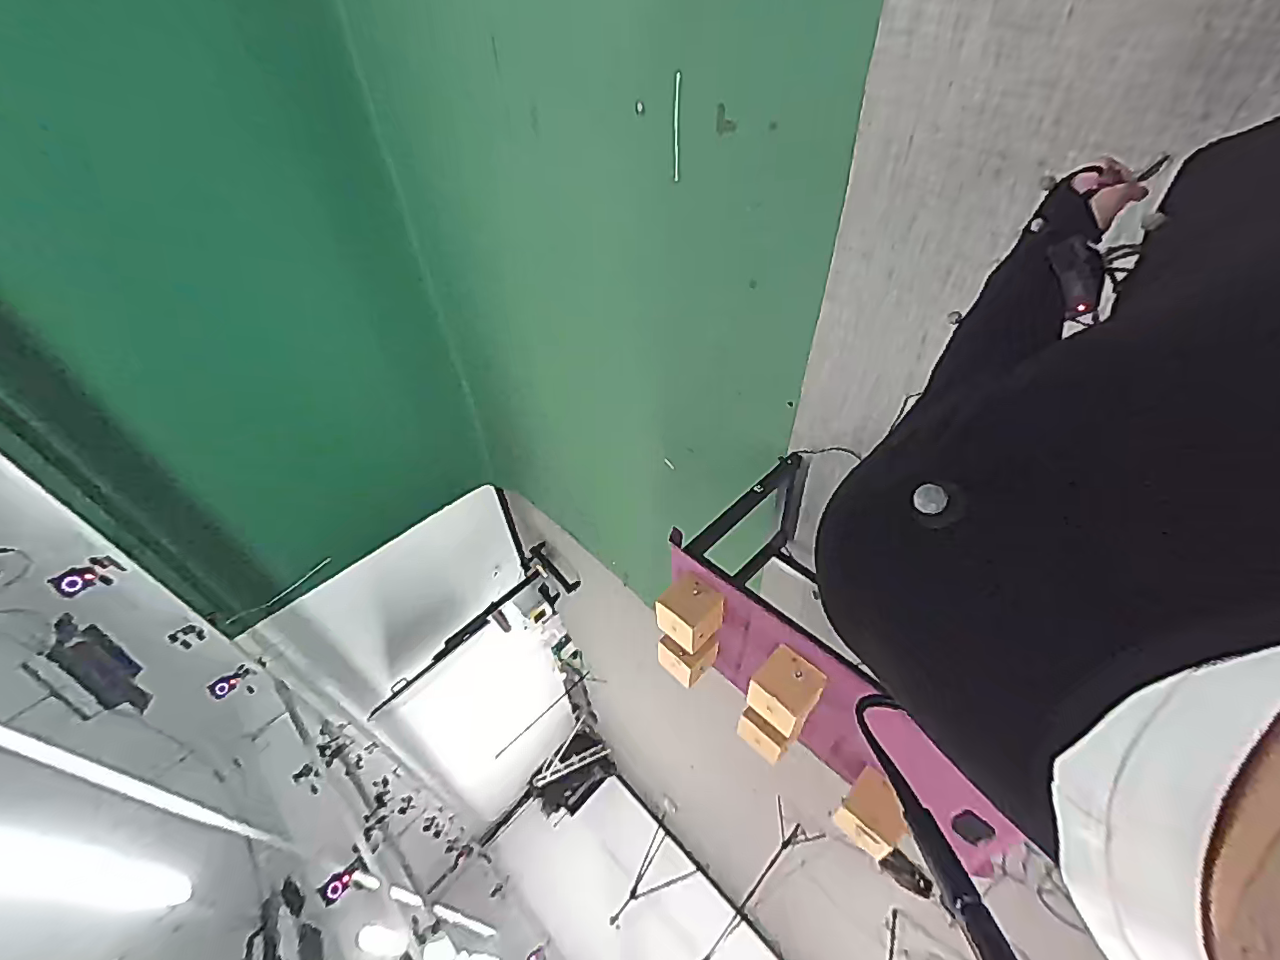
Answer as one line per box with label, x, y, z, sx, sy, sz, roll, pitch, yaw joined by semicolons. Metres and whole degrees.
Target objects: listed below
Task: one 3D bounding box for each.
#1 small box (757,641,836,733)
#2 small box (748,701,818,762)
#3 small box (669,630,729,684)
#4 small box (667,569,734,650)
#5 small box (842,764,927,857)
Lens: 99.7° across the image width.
small box;0.488;0.643;1.687;0.168;0.176;0.179;35;148;33
small box;0.502;0.843;1.901;0.168;0.176;0.179;34;147;31
small box;0.229;0.652;2.105;0.168;0.176;0.179;35;148;31
small box;0.212;0.450;1.888;0.168;0.176;0.179;33;146;32
small box;0.766;1.029;1.693;0.168;0.176;0.179;34;148;33
